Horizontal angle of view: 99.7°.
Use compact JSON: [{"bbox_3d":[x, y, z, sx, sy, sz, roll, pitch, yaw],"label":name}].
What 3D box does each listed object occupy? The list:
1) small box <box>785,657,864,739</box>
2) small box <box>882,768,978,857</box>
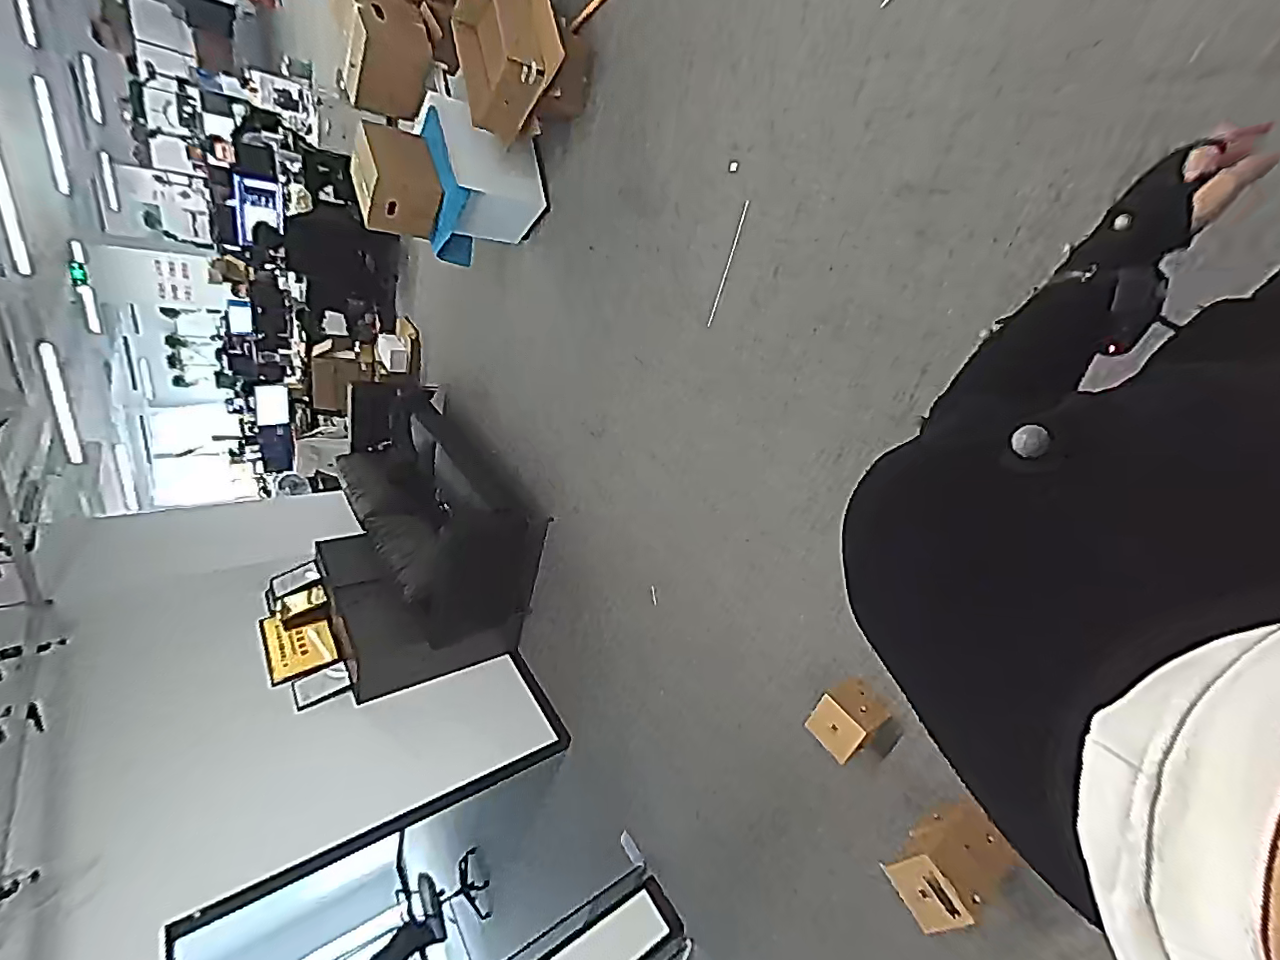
[{"bbox_3d":[0.645,0.749,1.875,0.168,0.176,0.179,43,129,36],"label":"small box"},{"bbox_3d":[0.885,1.001,1.635,0.168,0.176,0.179,61,137,23],"label":"small box"}]
